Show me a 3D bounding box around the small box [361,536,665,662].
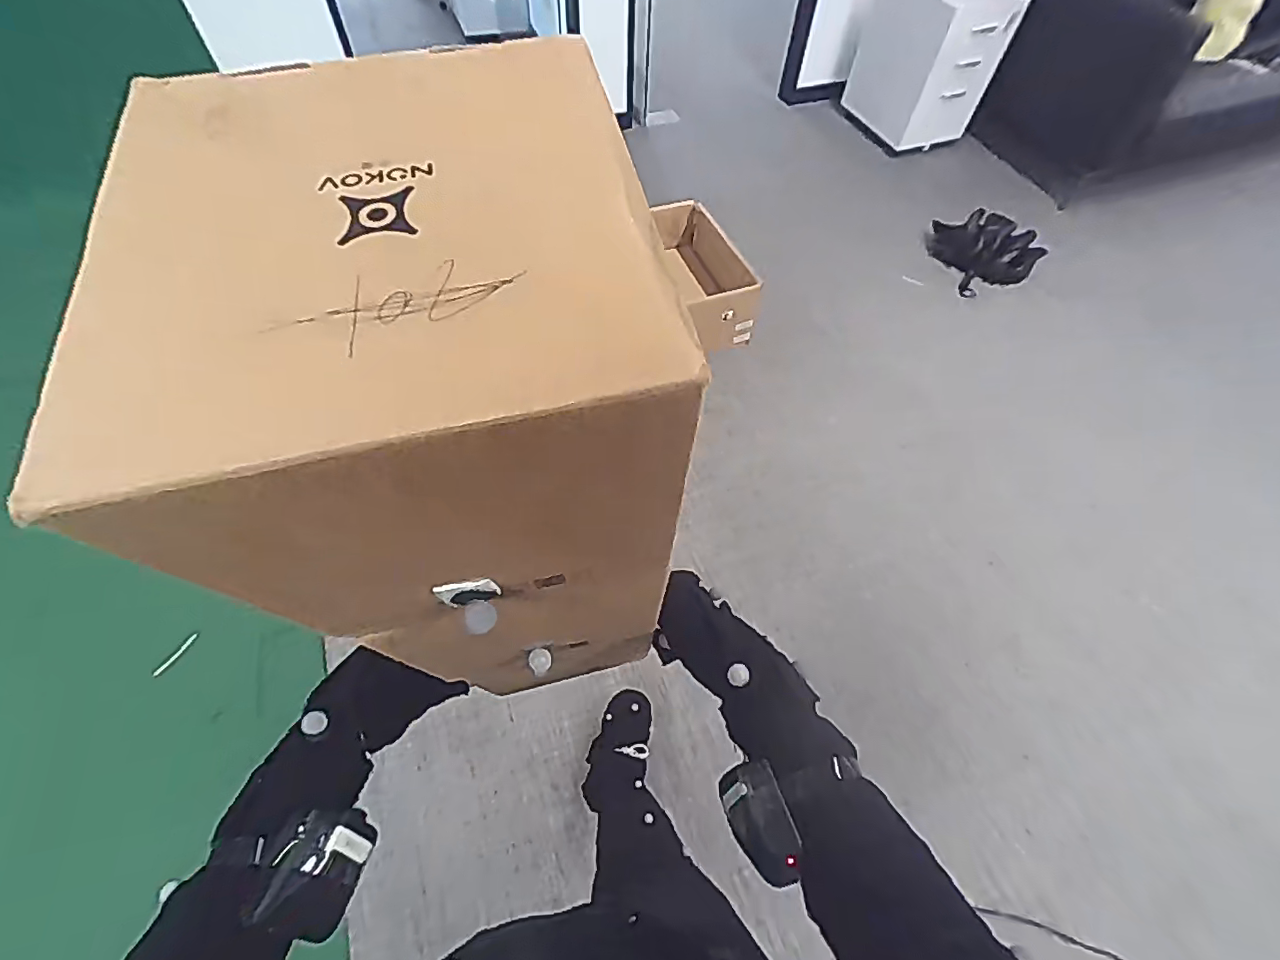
[{"bbox_3d":[-0.087,0.018,0.398,0.168,0.176,0.179,-12,65,-8],"label":"small box"}]

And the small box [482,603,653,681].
[{"bbox_3d":[-0.090,0.088,0.548,0.168,0.176,0.179,-13,64,-7],"label":"small box"}]

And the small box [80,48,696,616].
[{"bbox_3d":[-0.083,-0.054,0.253,0.168,0.176,0.179,-13,66,-7],"label":"small box"}]
